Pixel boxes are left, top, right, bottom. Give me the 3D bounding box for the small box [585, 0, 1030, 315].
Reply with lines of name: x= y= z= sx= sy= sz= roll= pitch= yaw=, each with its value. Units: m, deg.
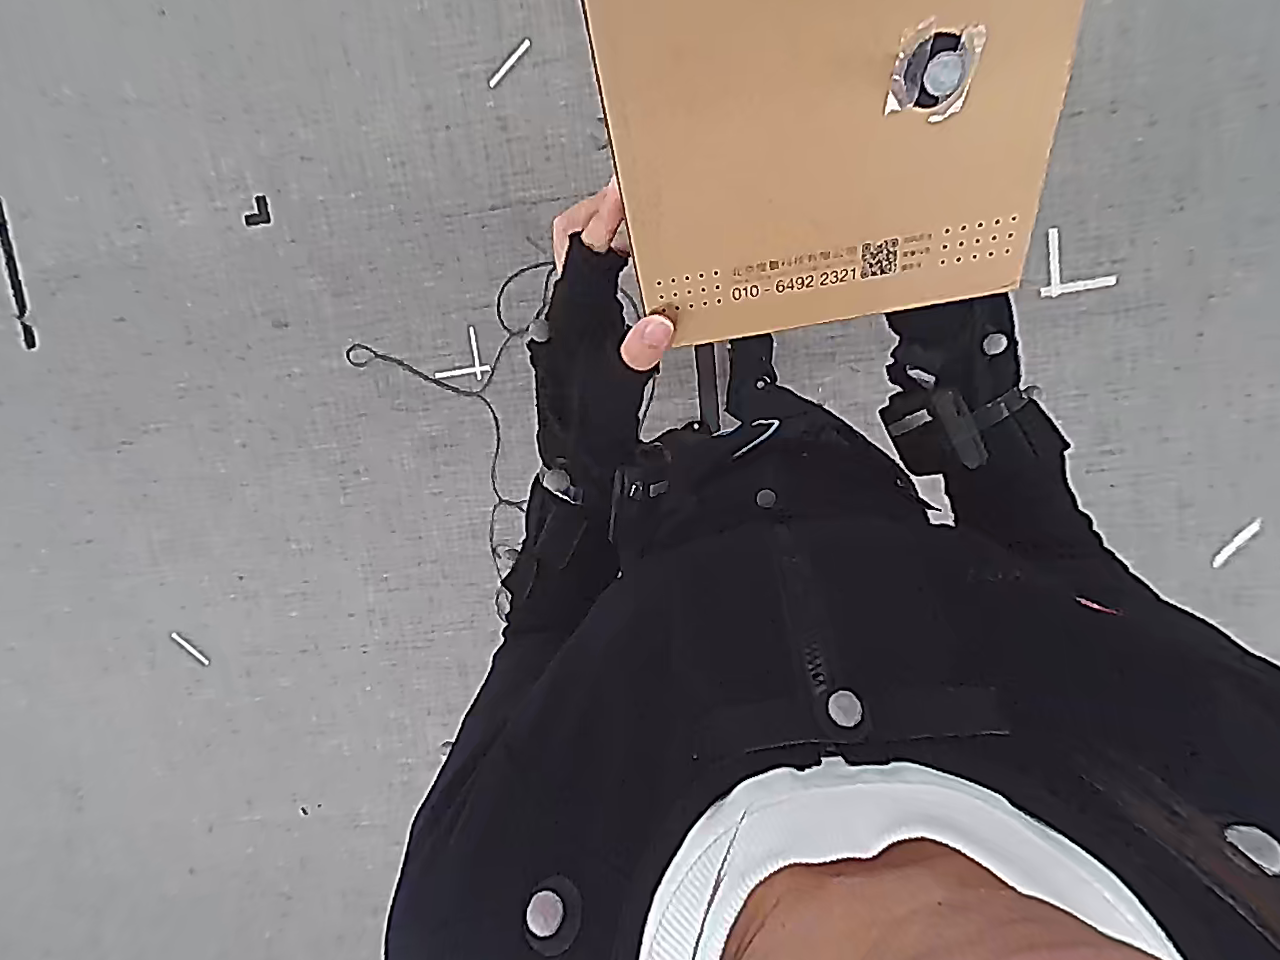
small box: x=0.076 y=-0.198 z=0.284 sx=0.168 sy=0.179 sz=0.176 roll=-7 pitch=128 yaw=9
